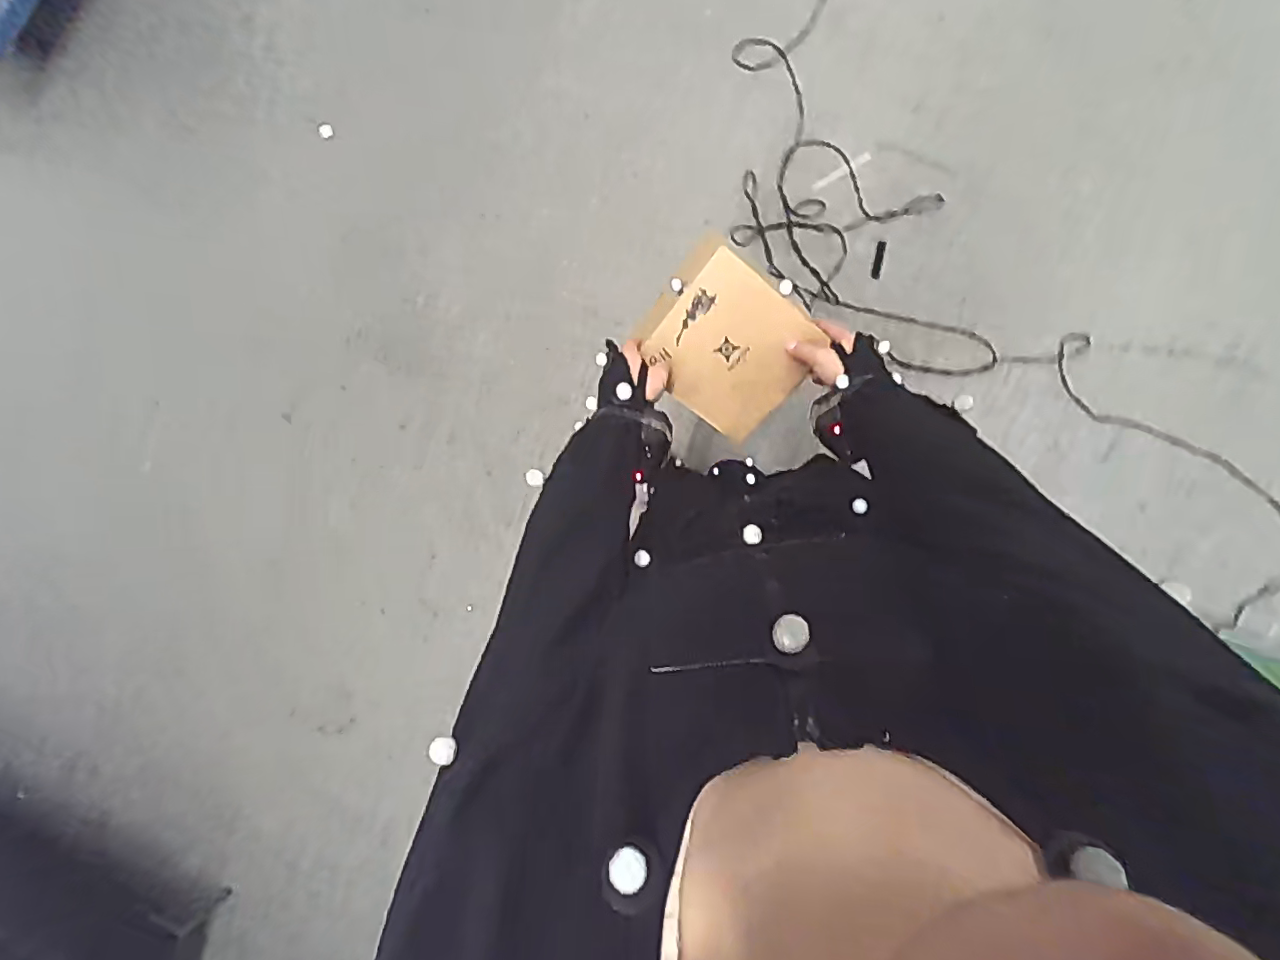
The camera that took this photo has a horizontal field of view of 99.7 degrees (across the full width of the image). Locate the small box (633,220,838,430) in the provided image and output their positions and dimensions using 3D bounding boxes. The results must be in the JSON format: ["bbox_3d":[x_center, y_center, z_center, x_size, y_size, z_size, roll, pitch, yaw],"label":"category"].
[{"bbox_3d":[0.111,-0.202,0.682,0.179,0.176,0.168,34,117,-17],"label":"small box"}]
